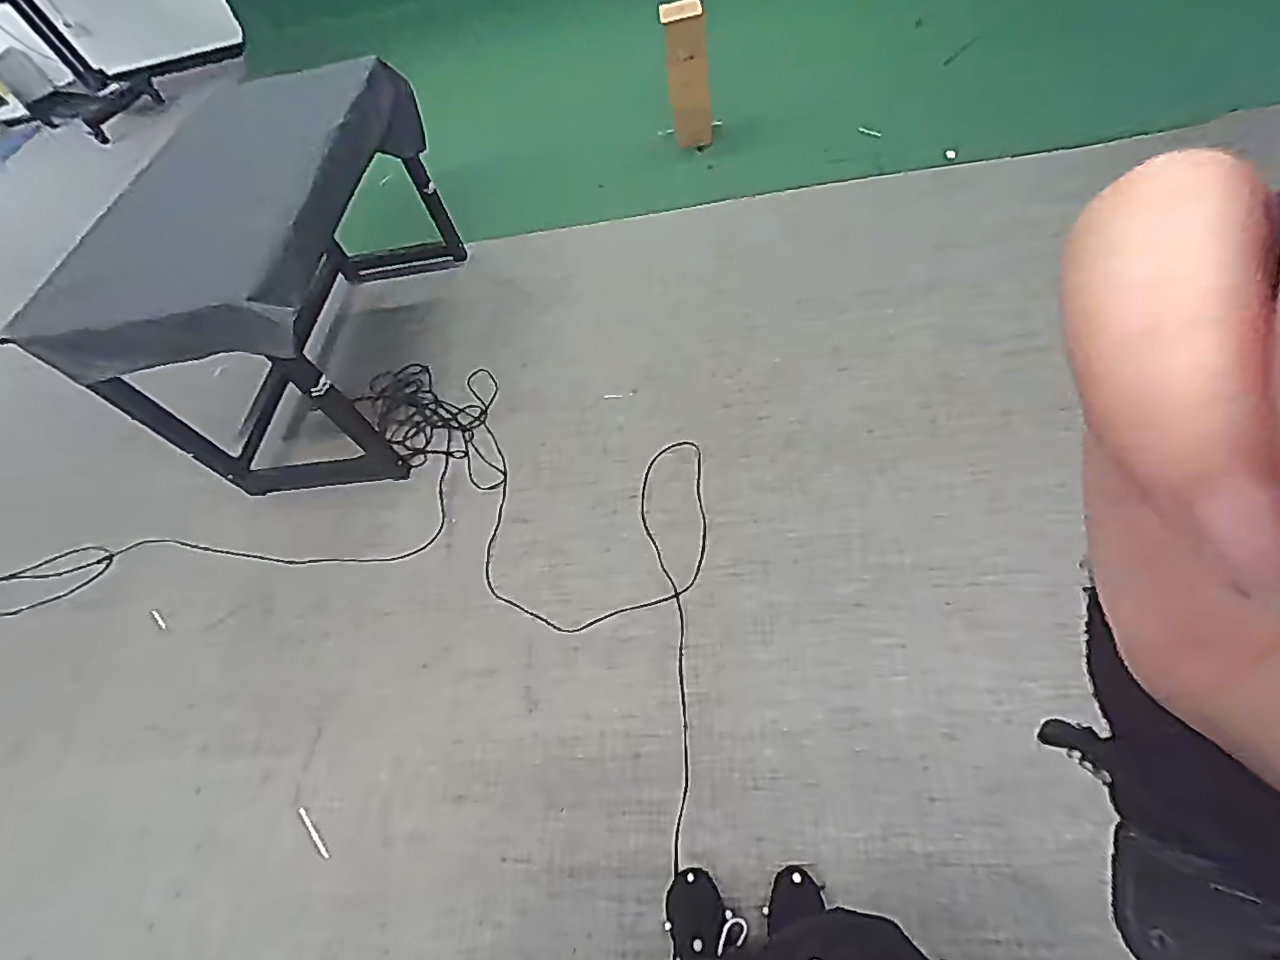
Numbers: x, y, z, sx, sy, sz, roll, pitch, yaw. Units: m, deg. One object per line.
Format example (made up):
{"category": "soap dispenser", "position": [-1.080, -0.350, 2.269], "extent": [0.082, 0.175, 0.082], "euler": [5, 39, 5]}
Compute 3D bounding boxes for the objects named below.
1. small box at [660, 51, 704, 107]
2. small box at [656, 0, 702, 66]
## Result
{"category": "small box", "position": [0.185, -1.753, 2.346], "extent": [0.168, 0.176, 0.179], "euler": [-8, 57, 6]}
{"category": "small box", "position": [0.161, -1.839, 2.210], "extent": [0.168, 0.176, 0.179], "euler": [-8, 58, 8]}
